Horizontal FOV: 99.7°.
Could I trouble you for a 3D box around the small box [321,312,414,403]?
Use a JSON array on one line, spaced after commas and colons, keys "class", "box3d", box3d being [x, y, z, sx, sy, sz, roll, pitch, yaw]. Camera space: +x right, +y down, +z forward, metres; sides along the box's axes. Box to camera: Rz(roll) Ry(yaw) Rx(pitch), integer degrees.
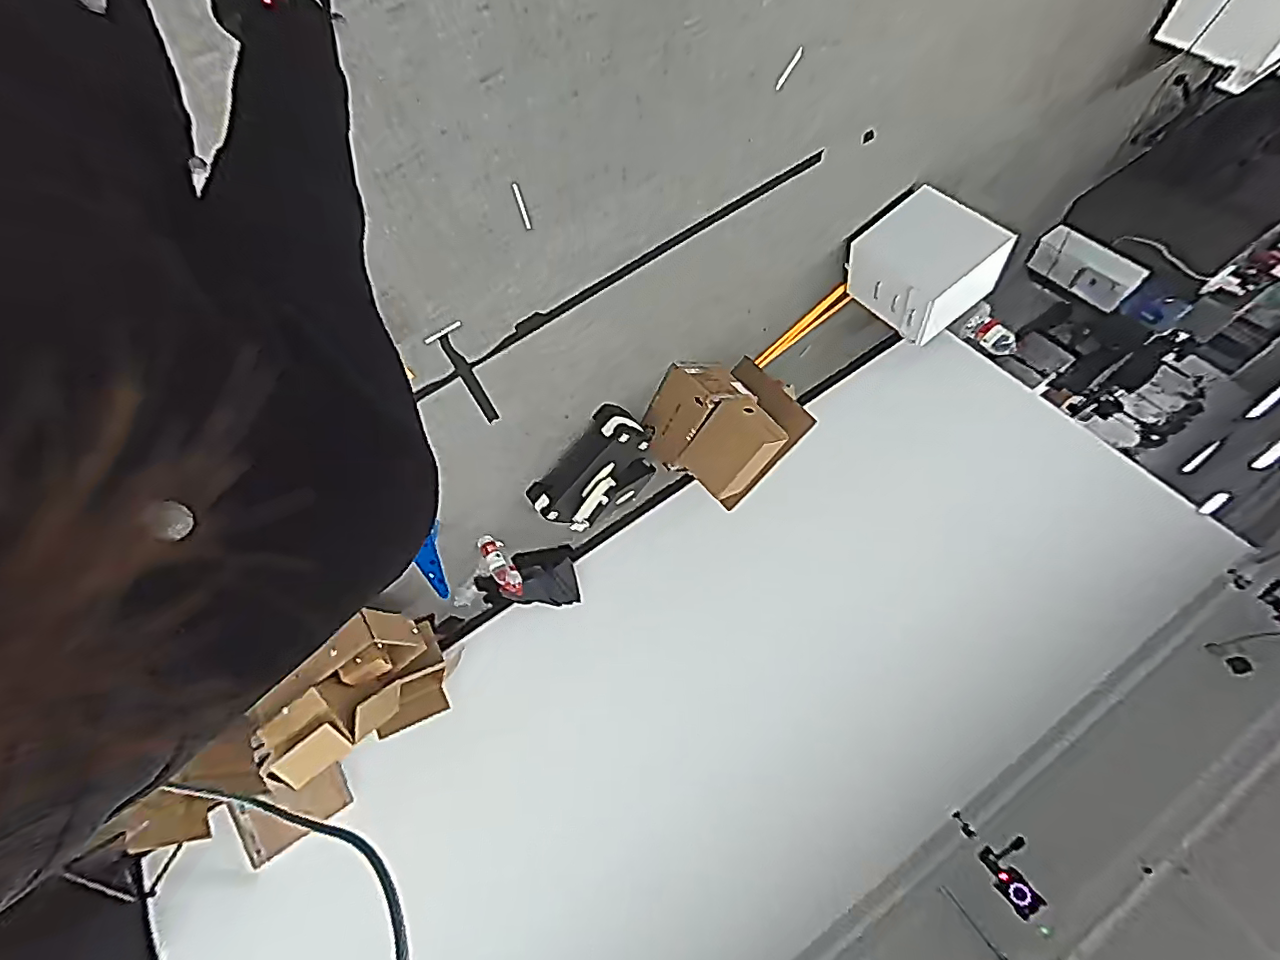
[{"class": "small box", "box3d": [-0.843, -0.380, 1.673, 0.168, 0.176, 0.179, -35, 153, -7]}]
